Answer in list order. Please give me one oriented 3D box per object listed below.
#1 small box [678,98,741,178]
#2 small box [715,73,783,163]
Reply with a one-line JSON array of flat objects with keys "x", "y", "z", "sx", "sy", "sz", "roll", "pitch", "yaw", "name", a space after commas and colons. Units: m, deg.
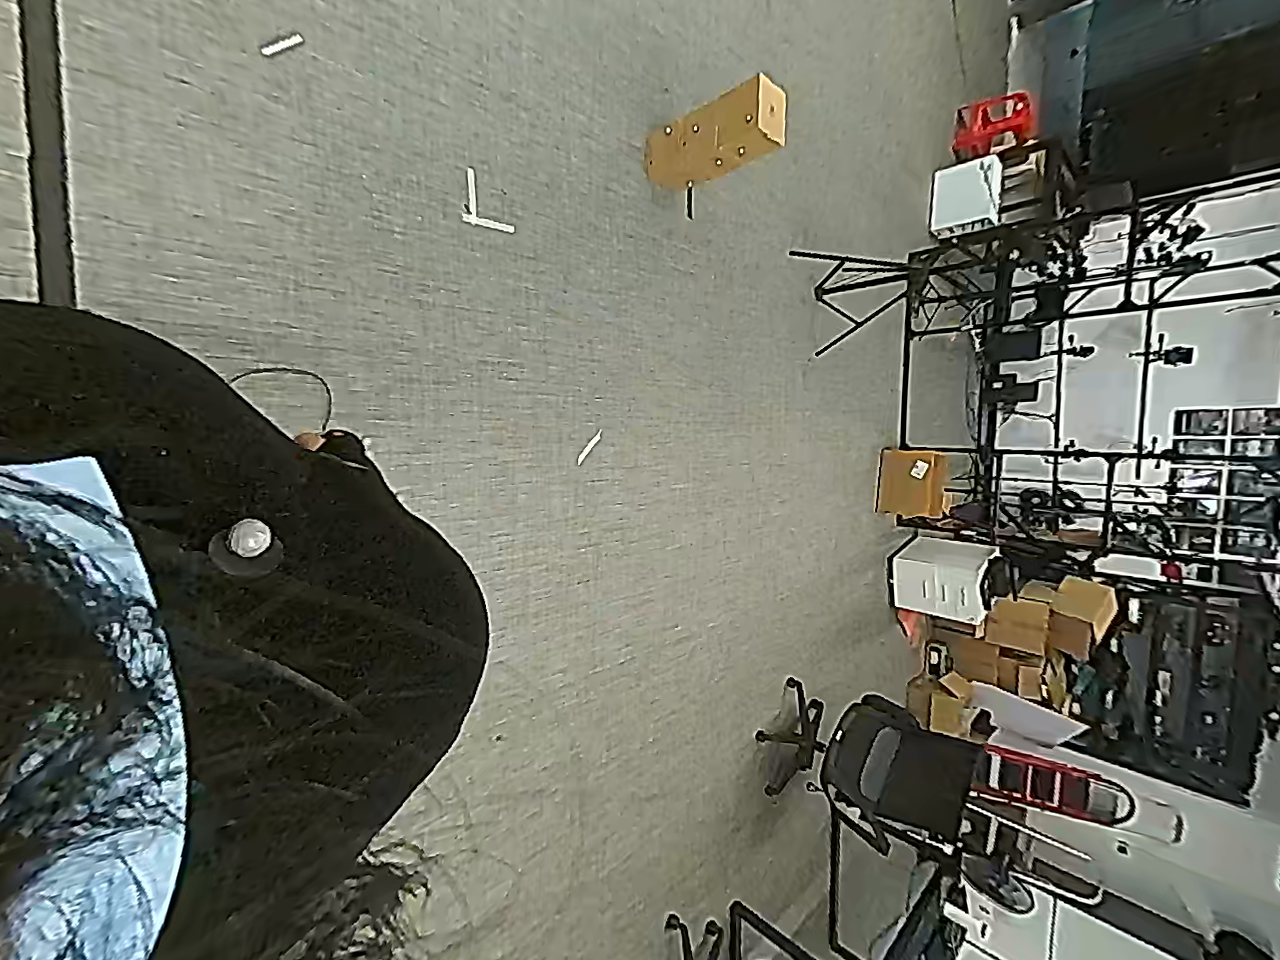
[{"x": 0.254, "y": -1.230, "z": 1.962, "sx": 0.179, "sy": 0.176, "sz": 0.168, "roll": 1, "pitch": 94, "yaw": -46, "name": "small box"}, {"x": 0.371, "y": -1.229, "z": 1.849, "sx": 0.168, "sy": 0.176, "sz": 0.179, "roll": -4, "pitch": 97, "yaw": -45, "name": "small box"}]
